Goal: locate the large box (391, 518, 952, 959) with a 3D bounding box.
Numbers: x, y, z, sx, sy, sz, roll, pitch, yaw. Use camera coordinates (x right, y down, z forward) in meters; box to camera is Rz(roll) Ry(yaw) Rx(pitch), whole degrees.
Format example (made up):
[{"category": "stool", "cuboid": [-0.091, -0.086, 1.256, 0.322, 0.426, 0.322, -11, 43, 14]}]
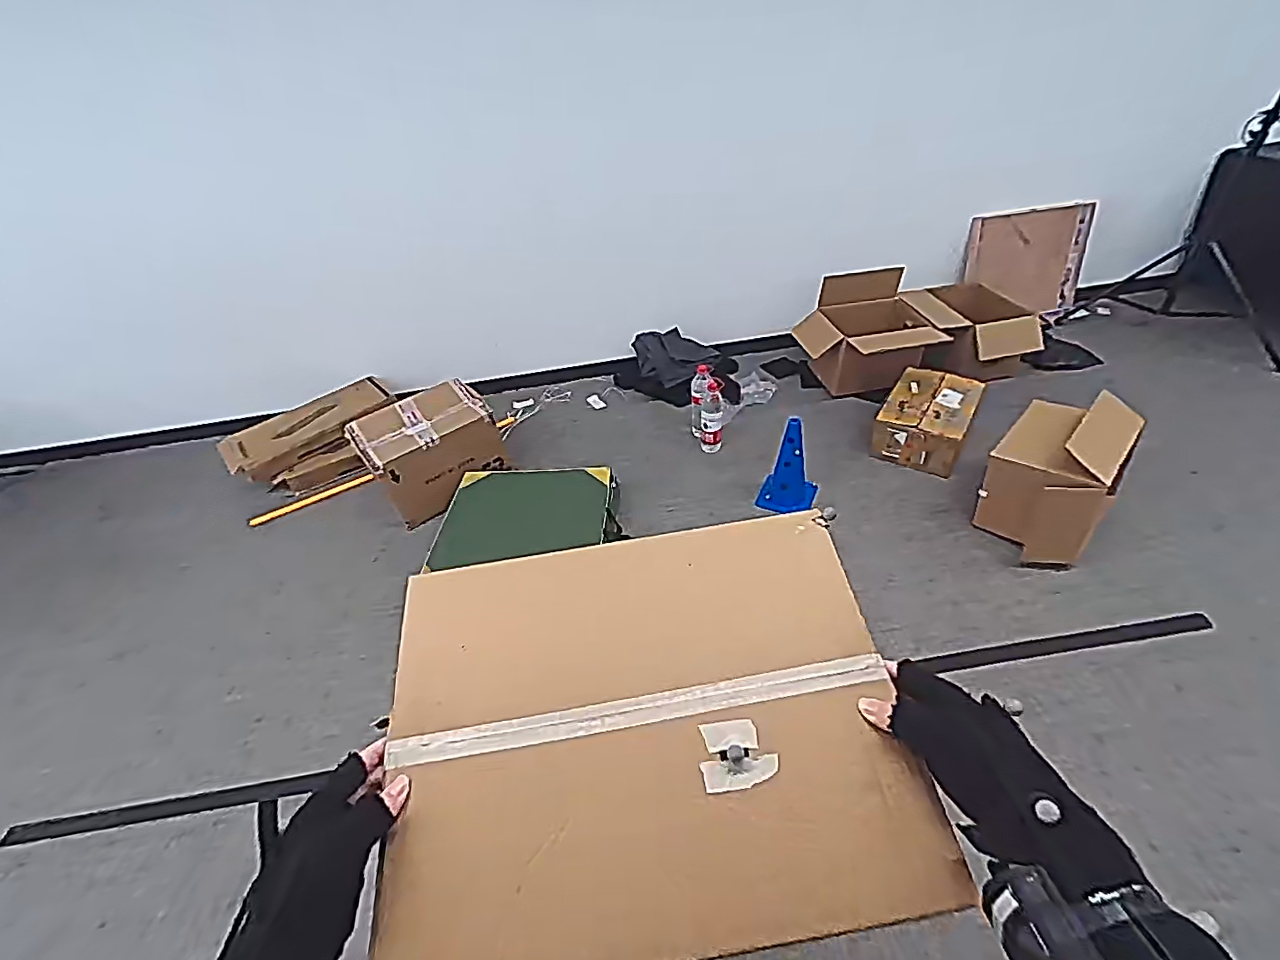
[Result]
[{"category": "large box", "cuboid": [0.011, 0.279, 0.575, 0.408, 0.320, 0.320, -9, 55, -2]}]
